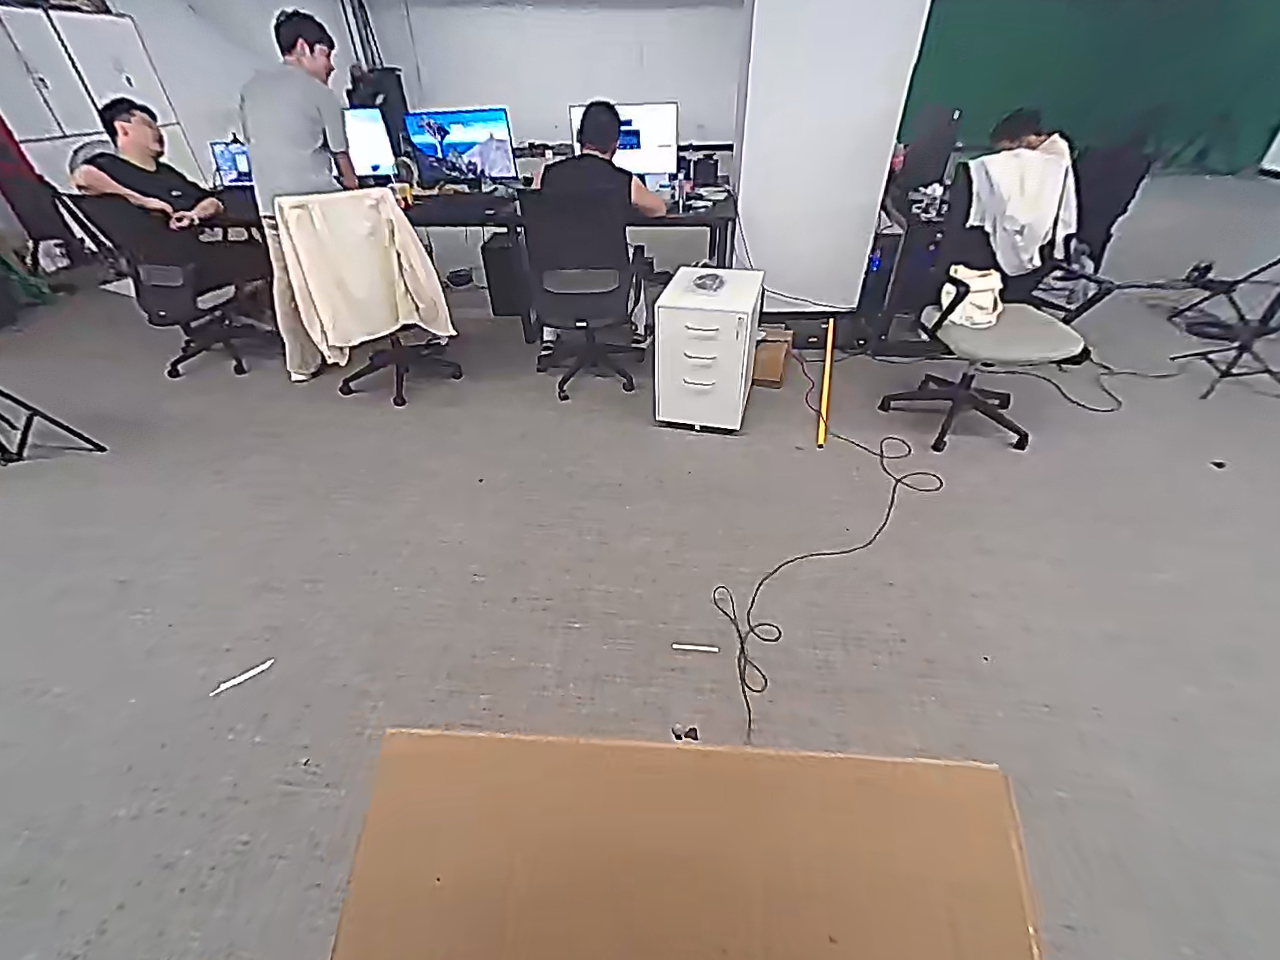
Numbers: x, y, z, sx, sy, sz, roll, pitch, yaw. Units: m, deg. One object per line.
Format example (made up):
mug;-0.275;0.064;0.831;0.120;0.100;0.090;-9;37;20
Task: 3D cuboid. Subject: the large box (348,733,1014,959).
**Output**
large box;0.027;0.385;0.440;0.408;0.320;0.320;1;65;4
